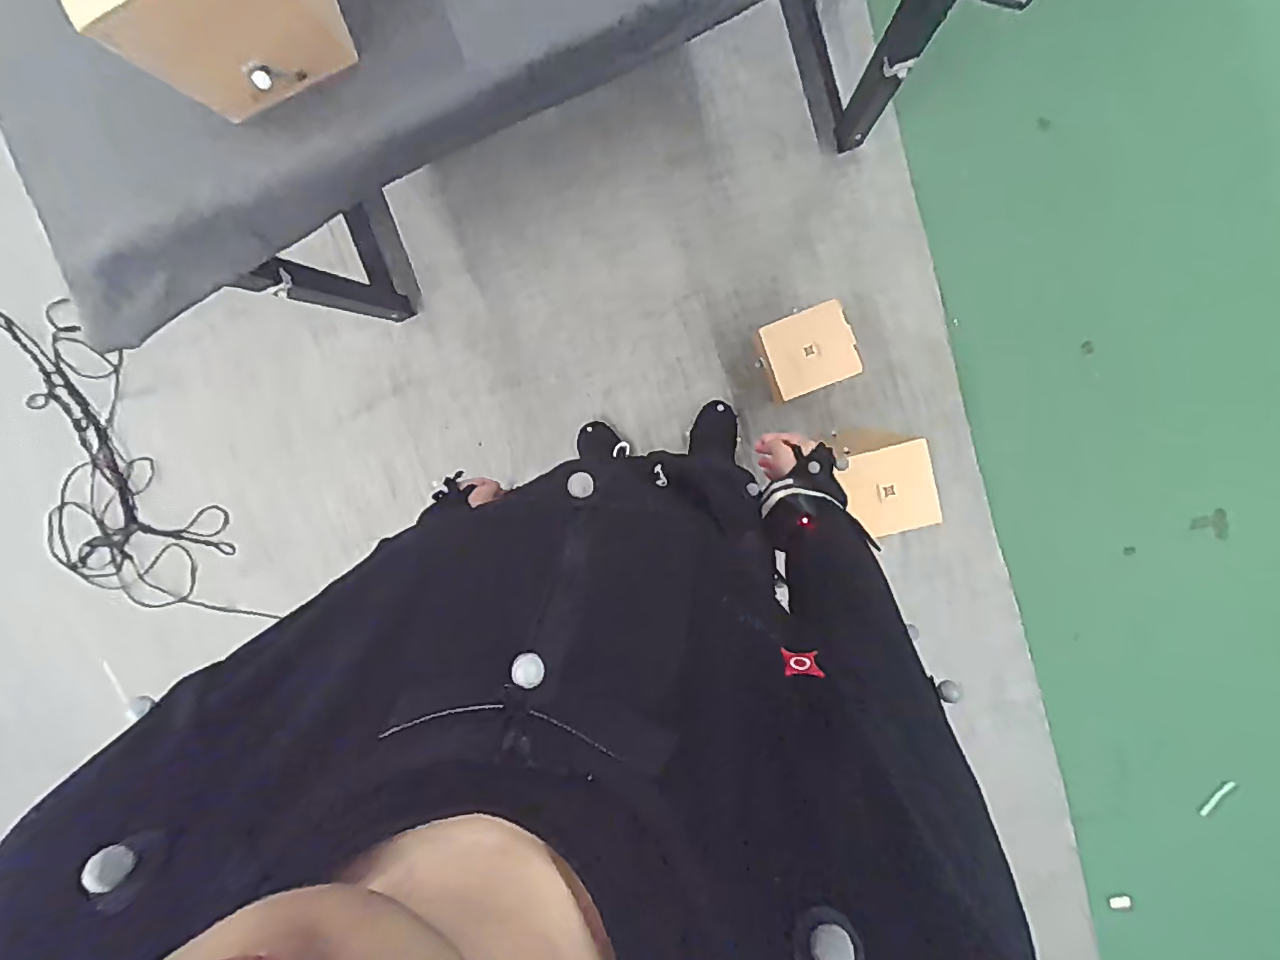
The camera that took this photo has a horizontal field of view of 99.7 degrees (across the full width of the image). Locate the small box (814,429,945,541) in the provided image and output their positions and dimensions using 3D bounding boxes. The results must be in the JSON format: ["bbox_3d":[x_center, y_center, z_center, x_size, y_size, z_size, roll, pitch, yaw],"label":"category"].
[{"bbox_3d":[0.466,0.002,1.072,0.179,0.176,0.168,-15,98,8],"label":"small box"}]

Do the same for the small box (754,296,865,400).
[{"bbox_3d":[0.367,-0.287,1.200,0.179,0.176,0.168,-21,96,10],"label":"small box"}]

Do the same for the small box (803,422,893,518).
[{"bbox_3d":[0.481,-0.028,1.232,0.179,0.176,0.168,-16,99,10],"label":"small box"}]

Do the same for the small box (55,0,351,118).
[{"bbox_3d":[-0.417,-0.492,0.503,0.168,0.176,0.179,-20,98,9],"label":"small box"}]
